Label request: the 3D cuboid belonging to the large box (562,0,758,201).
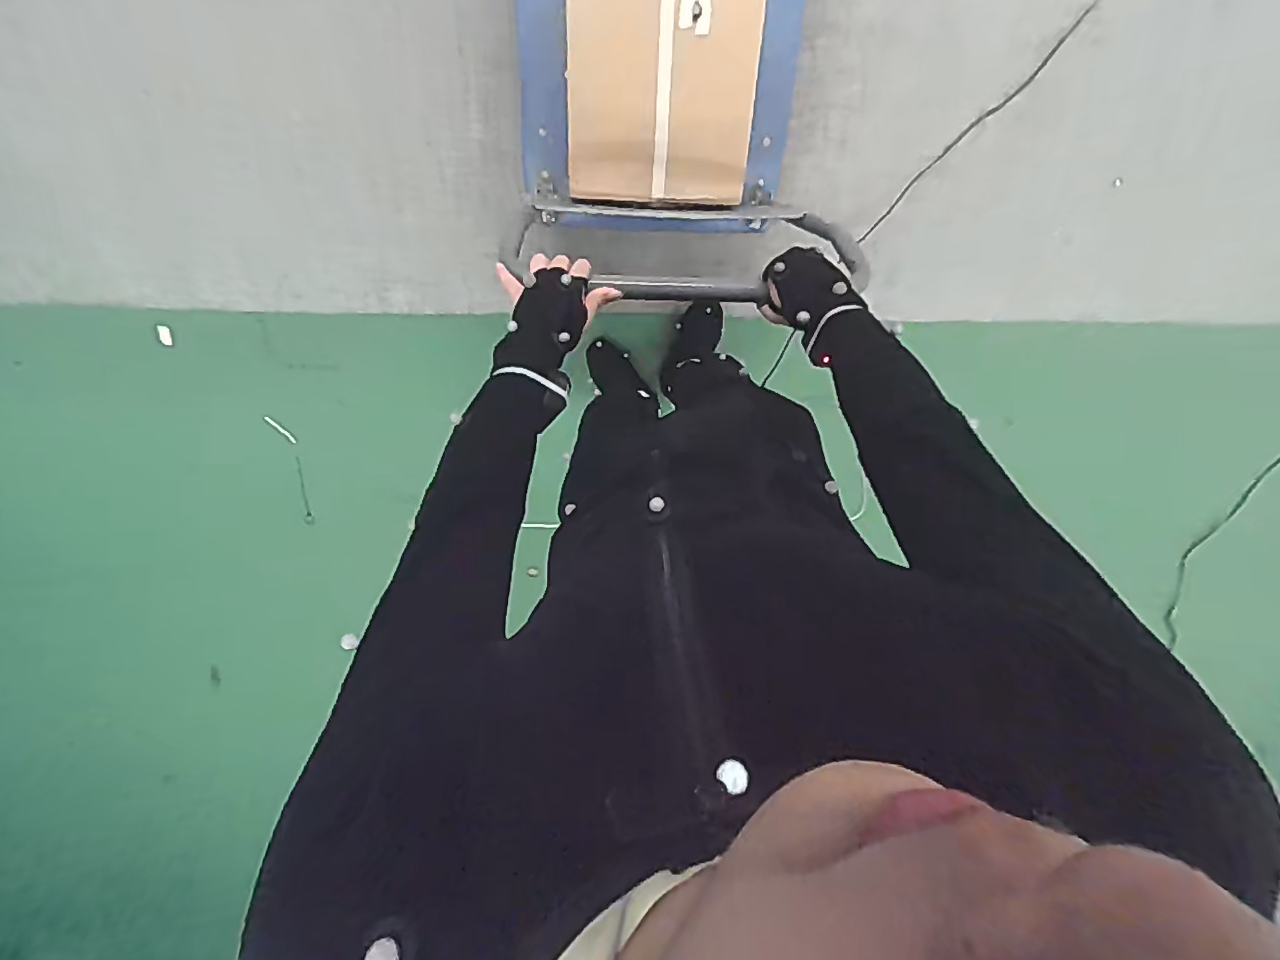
[{"bbox_3d":[0.026,-0.757,1.024,0.320,0.320,0.408,0,117,-4],"label":"large box"}]
